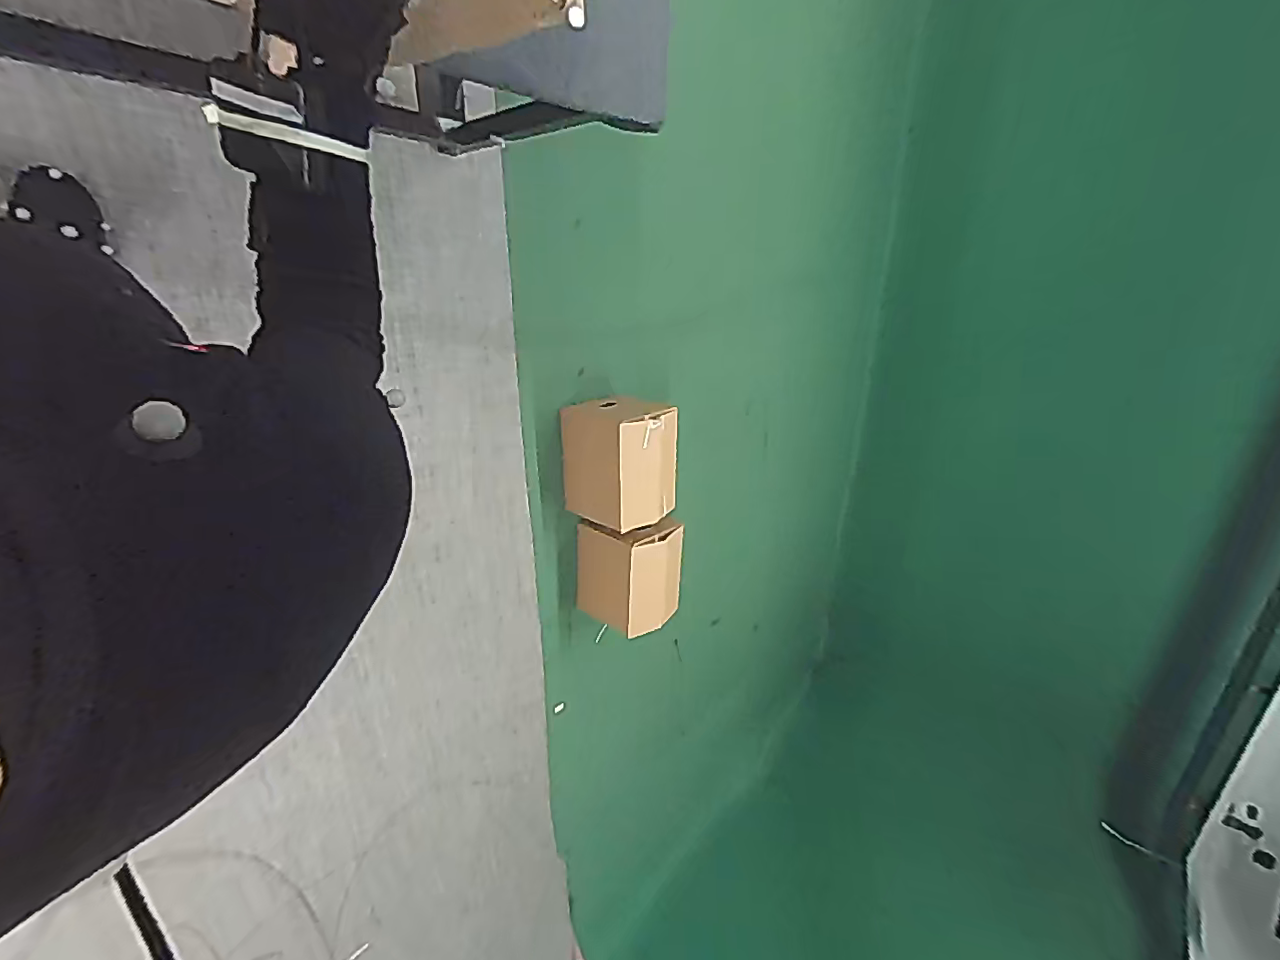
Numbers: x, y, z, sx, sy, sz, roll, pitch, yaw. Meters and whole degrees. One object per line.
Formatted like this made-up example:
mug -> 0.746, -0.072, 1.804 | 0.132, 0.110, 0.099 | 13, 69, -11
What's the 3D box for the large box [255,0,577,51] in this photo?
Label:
large box -> -0.234, -0.576, 0.327 | 0.320, 0.320, 0.408 | -15, 120, -50
